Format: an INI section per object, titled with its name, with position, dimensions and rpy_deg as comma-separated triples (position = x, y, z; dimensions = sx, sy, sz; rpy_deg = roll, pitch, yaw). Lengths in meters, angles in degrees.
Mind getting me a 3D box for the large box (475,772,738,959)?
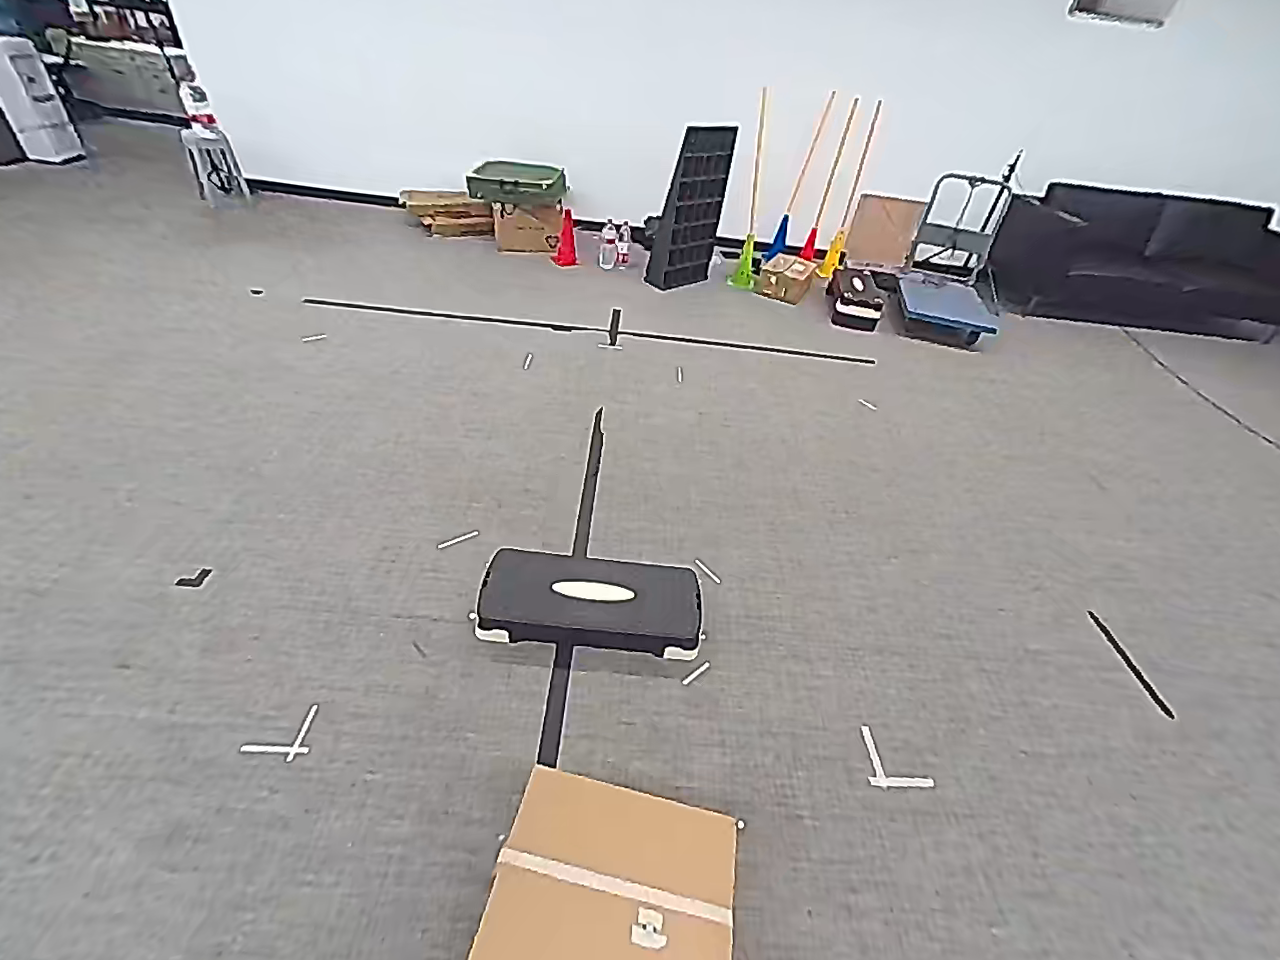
[large box]
position = -0.057, 0.809, 1.007
dimensions = 0.408, 0.320, 0.320
rpy_deg = 13, 40, 4
